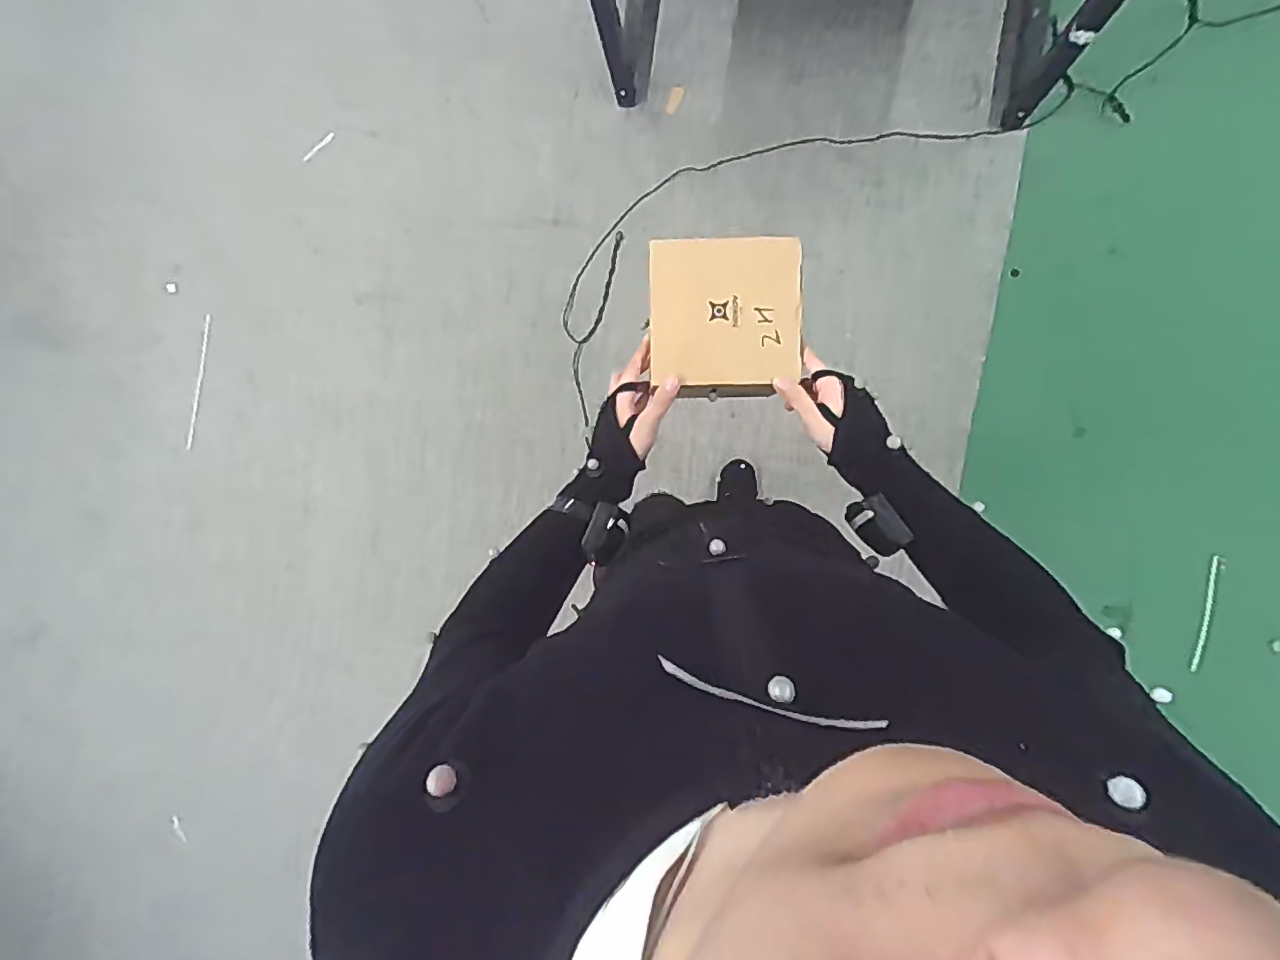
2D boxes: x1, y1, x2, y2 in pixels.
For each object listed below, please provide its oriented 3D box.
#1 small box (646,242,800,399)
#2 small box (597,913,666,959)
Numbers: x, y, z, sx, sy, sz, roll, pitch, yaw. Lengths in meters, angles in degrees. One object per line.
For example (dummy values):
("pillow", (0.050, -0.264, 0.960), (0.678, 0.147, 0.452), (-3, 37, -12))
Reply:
("small box", (0.098, -0.193, 0.699), (0.179, 0.176, 0.168), (0, 94, 1))
("small box", (-0.029, 1.270, 1.386), (0.168, 0.176, 0.179), (8, 91, 9))
